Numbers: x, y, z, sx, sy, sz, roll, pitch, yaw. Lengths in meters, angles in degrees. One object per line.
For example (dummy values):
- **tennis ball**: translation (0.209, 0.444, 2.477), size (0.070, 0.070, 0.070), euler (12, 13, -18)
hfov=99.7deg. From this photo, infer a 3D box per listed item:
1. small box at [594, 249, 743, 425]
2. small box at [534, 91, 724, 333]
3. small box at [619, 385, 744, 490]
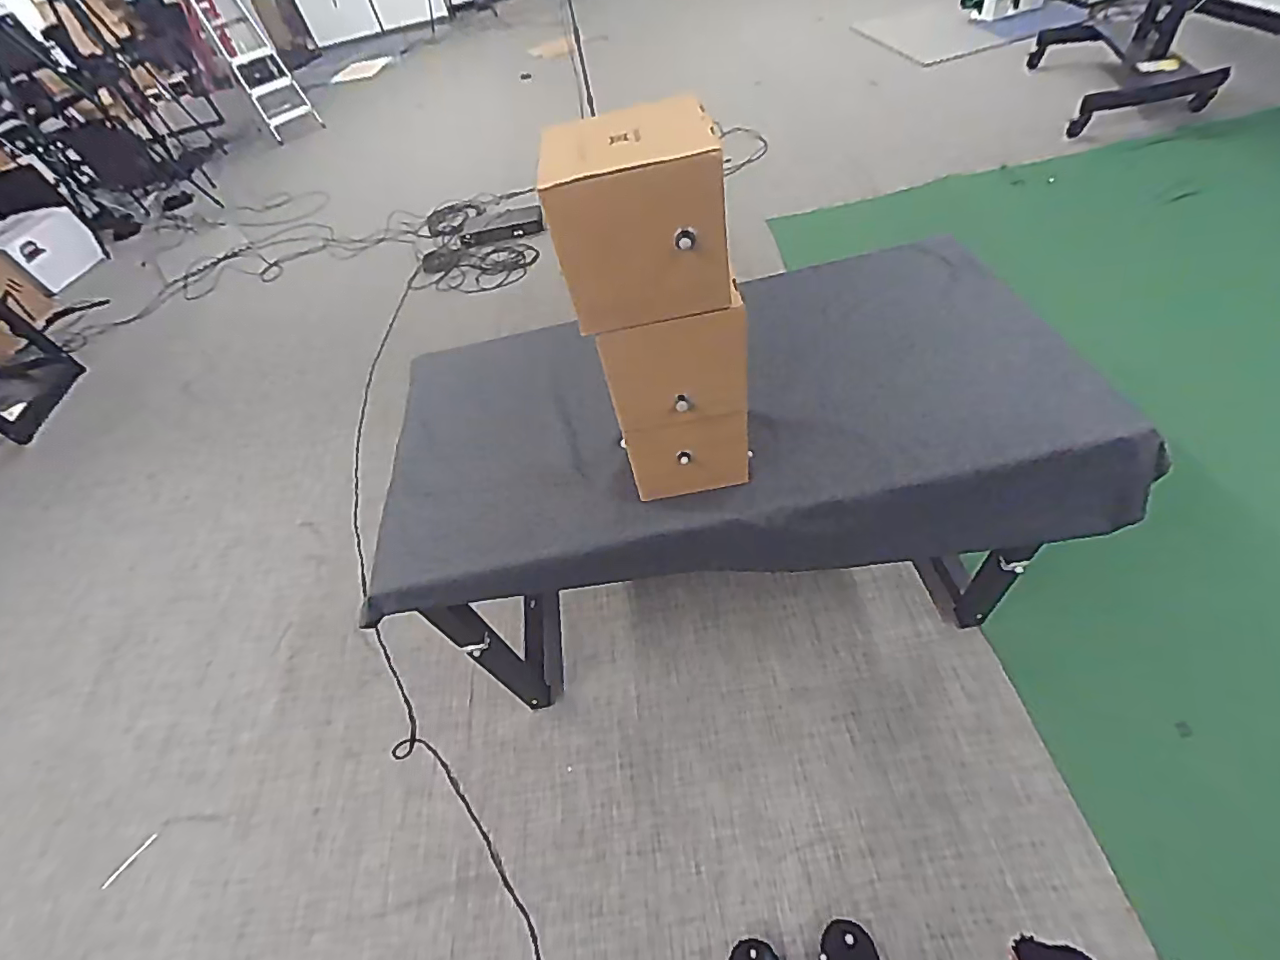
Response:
- **small box**: translation (0.038, -0.197, 0.730), size (0.179, 0.176, 0.168), euler (-10, 51, 5)
- **small box**: translation (-0.005, -0.292, 0.604), size (0.179, 0.176, 0.168), euler (-12, 50, 6)
- **small box**: translation (0.066, -0.104, 0.858), size (0.179, 0.176, 0.168), euler (-8, 50, 6)
